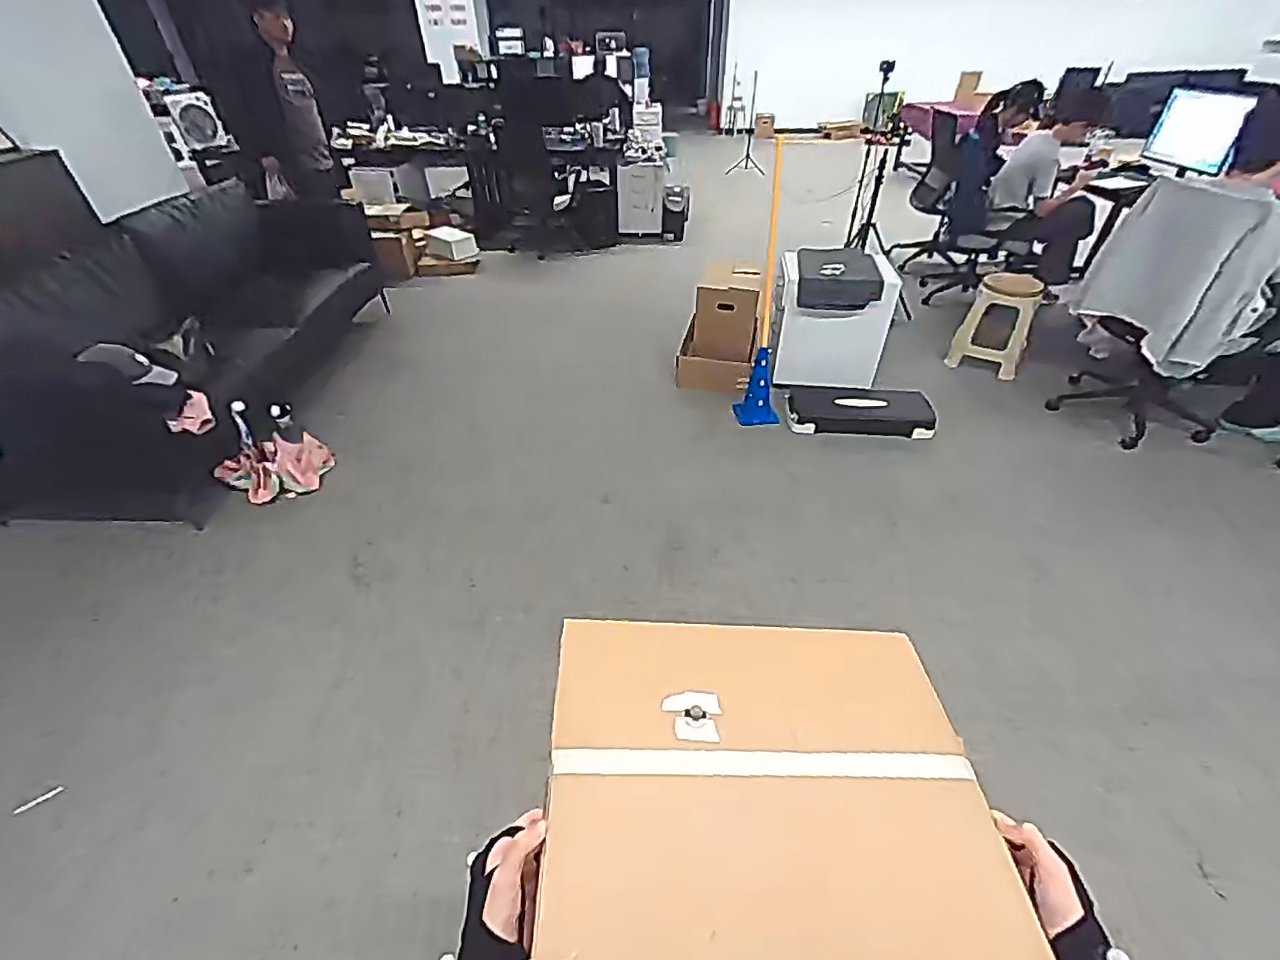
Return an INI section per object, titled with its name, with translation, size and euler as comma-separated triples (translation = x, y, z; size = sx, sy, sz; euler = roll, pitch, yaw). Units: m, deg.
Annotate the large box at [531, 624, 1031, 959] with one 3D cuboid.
[large box]
translation = 0.101, 0.383, 0.620
size = 0.408, 0.320, 0.320
euler = 3, 41, -4
